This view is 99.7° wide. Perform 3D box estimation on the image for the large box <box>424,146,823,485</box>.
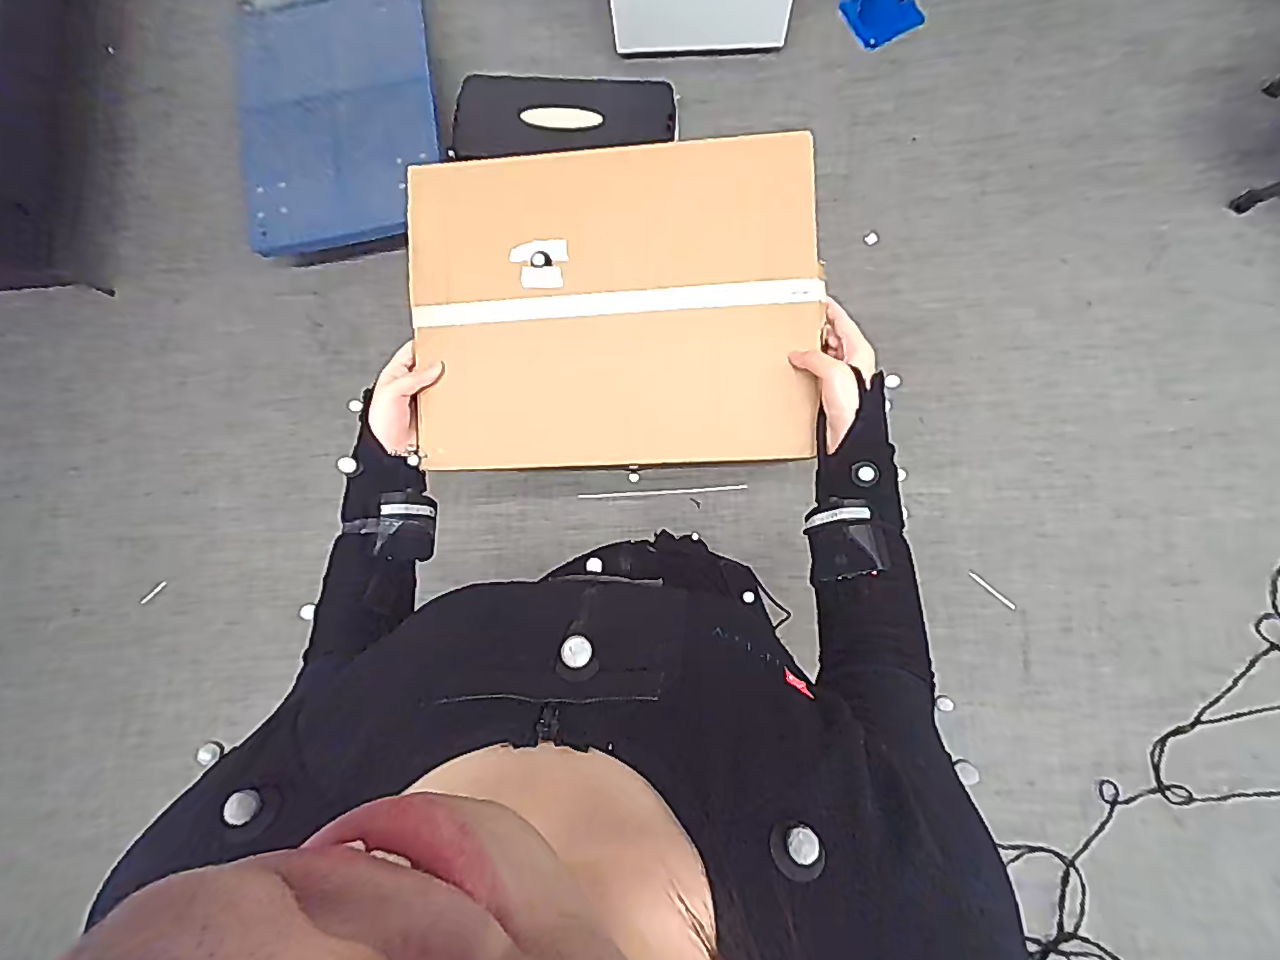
[{"bbox_3d":[-0.011,-0.204,0.700,0.408,0.320,0.320,9,105,9],"label":"large box"}]
